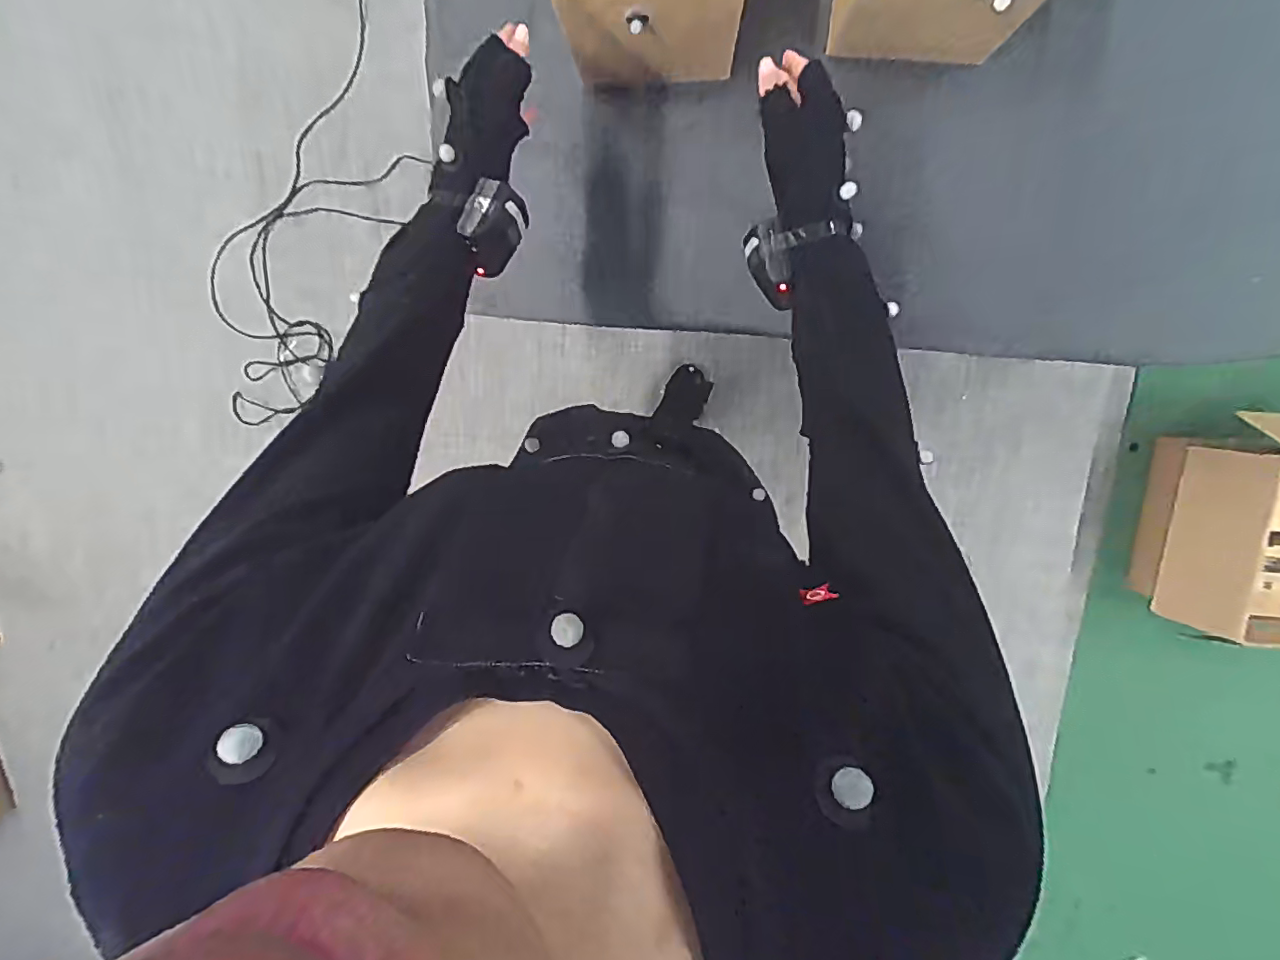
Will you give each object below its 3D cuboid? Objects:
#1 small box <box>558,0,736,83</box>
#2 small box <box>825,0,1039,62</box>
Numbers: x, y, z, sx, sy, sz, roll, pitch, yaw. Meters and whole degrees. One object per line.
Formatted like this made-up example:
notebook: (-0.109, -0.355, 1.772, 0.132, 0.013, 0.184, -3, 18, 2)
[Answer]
small box: (0.008, -0.526, 0.535, 0.179, 0.176, 0.168, 0, 102, 4)
small box: (0.295, -0.532, 0.510, 0.179, 0.176, 0.168, 6, 102, 3)
